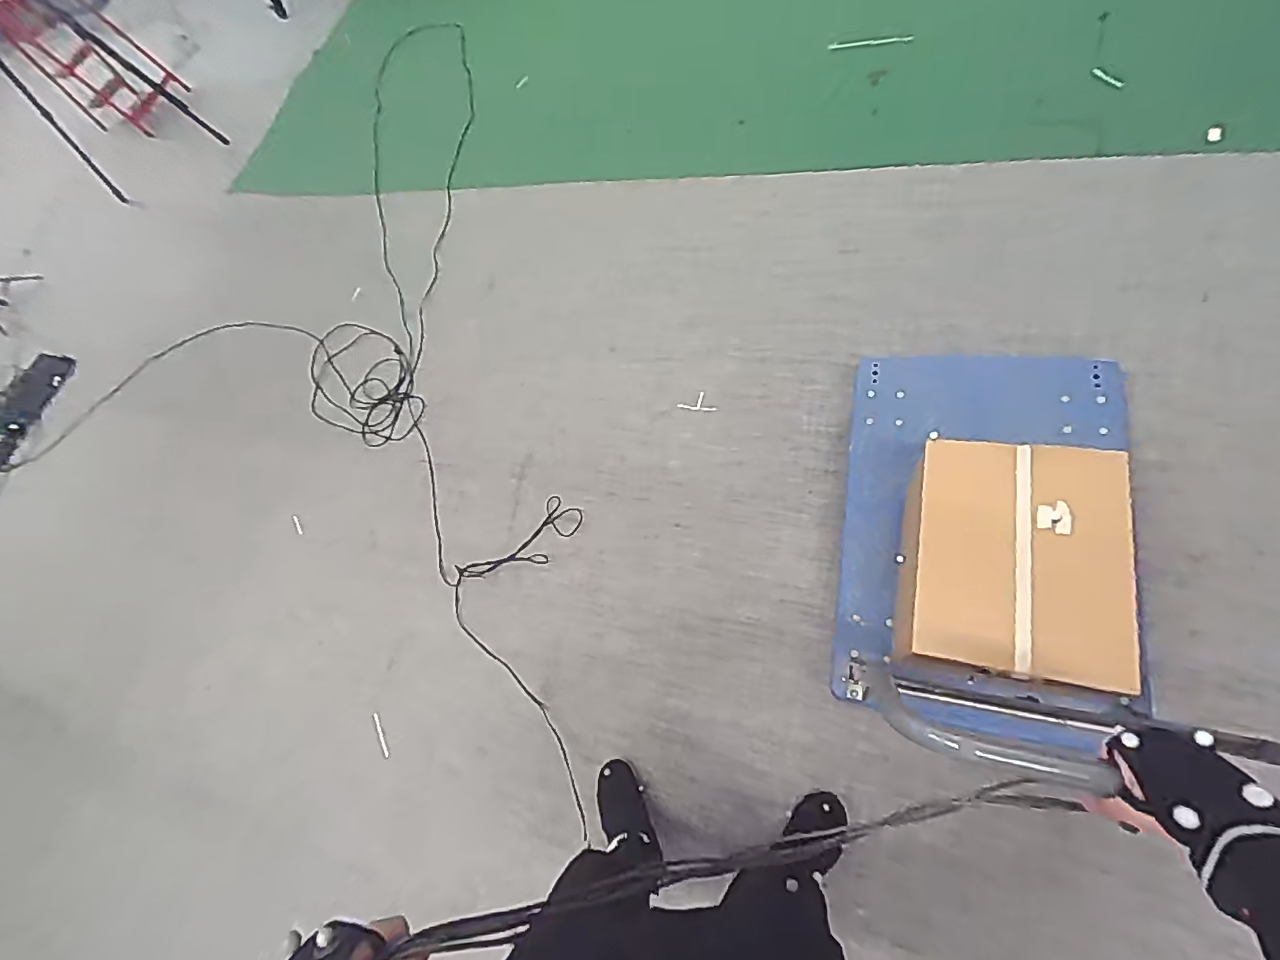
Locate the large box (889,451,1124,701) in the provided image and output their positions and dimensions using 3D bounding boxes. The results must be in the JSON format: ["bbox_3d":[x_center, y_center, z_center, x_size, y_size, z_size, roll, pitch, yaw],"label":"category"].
[{"bbox_3d":[0.684,0.196,1.072,0.320,0.320,0.408,7,70,20],"label":"large box"}]
